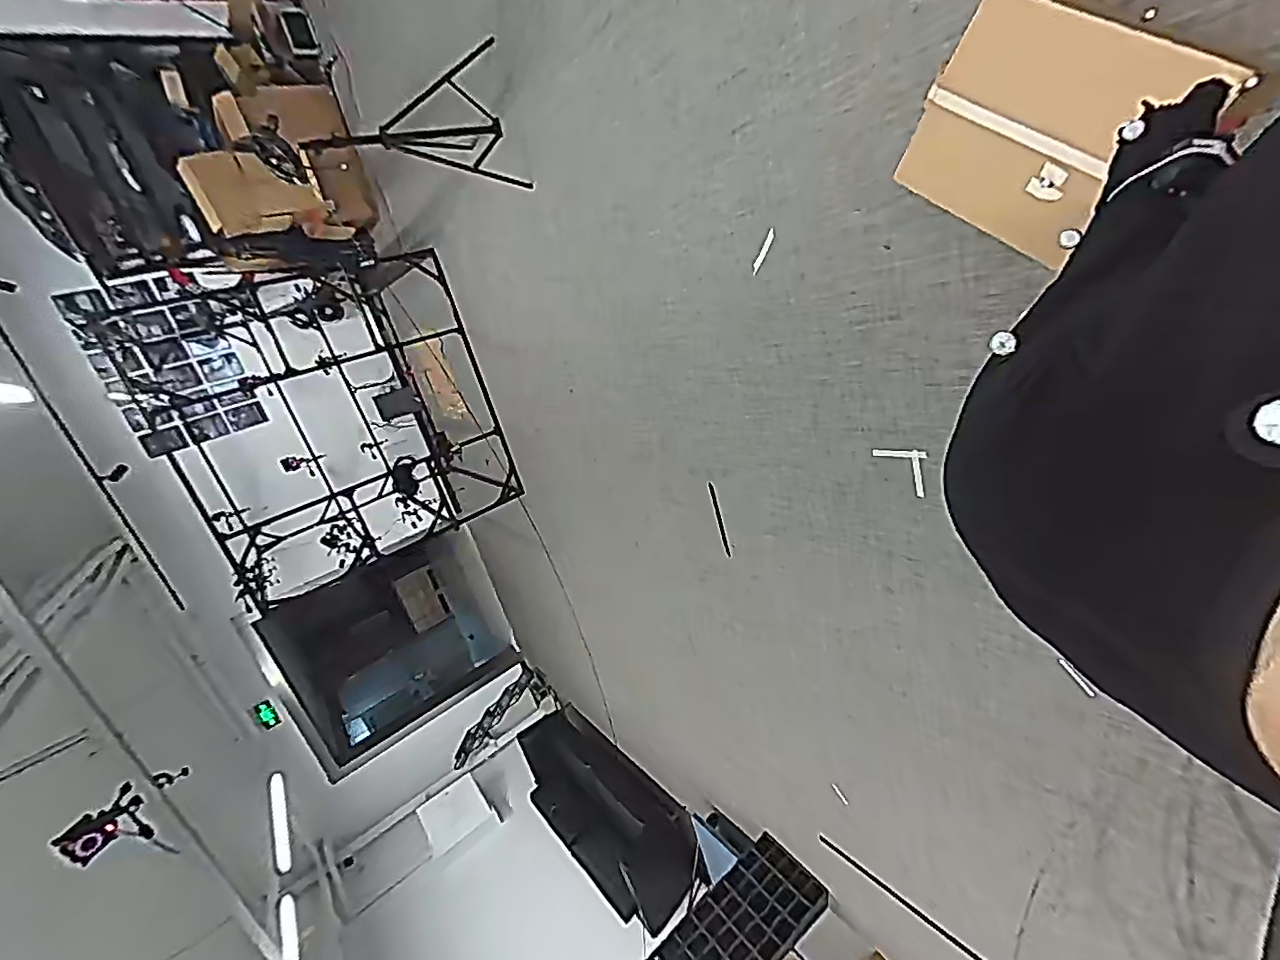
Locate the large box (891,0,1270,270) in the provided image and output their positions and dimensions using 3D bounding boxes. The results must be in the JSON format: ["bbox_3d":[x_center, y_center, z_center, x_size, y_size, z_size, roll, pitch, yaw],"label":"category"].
[{"bbox_3d":[0.782,-0.656,1.006,0.408,0.320,0.320,47,147,23],"label":"large box"}]
